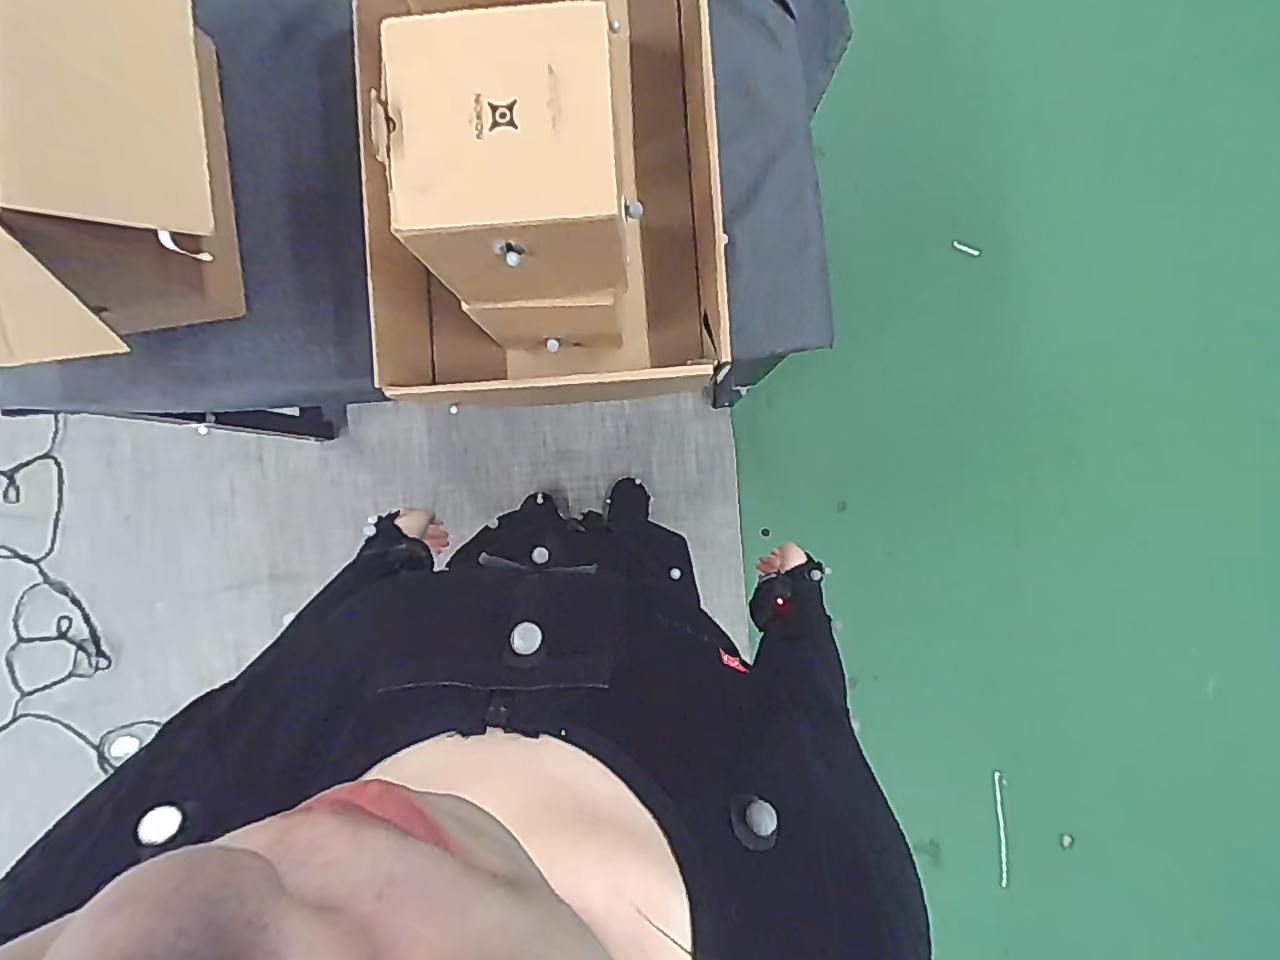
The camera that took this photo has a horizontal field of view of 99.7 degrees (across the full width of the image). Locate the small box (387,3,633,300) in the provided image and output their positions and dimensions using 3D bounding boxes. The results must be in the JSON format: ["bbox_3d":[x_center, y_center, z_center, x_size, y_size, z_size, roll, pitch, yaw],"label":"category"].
[{"bbox_3d":[-0.101,-0.273,0.491,0.179,0.176,0.168,-4,90,1],"label":"small box"}]
